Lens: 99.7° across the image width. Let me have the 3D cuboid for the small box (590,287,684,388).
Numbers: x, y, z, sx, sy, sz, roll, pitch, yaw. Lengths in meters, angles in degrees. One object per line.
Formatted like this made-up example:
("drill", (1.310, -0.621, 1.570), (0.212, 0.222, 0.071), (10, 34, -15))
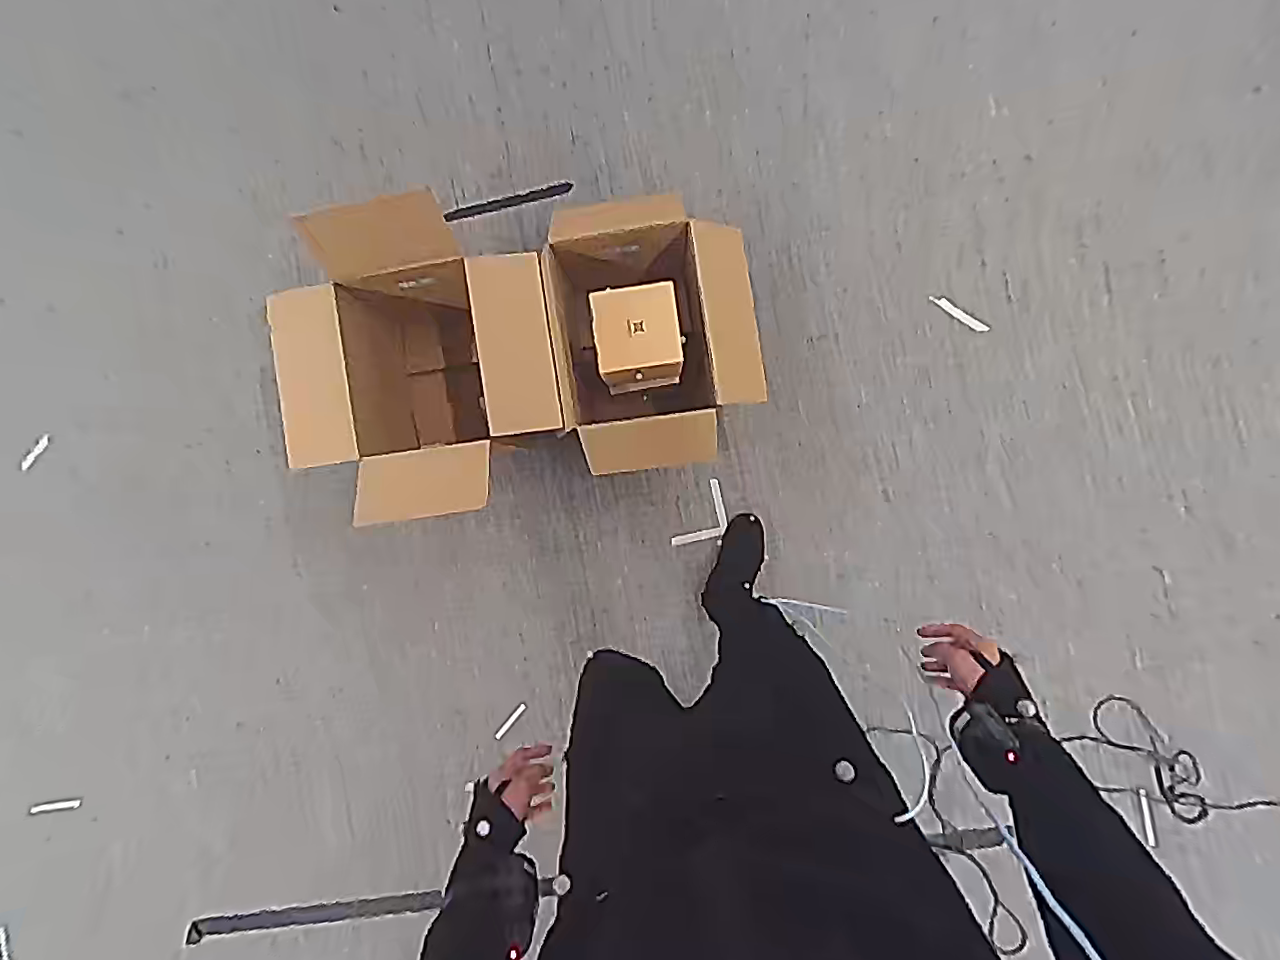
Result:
("small box", (-0.003, -0.302, 1.176), (0.179, 0.176, 0.168), (-8, 91, 4))
